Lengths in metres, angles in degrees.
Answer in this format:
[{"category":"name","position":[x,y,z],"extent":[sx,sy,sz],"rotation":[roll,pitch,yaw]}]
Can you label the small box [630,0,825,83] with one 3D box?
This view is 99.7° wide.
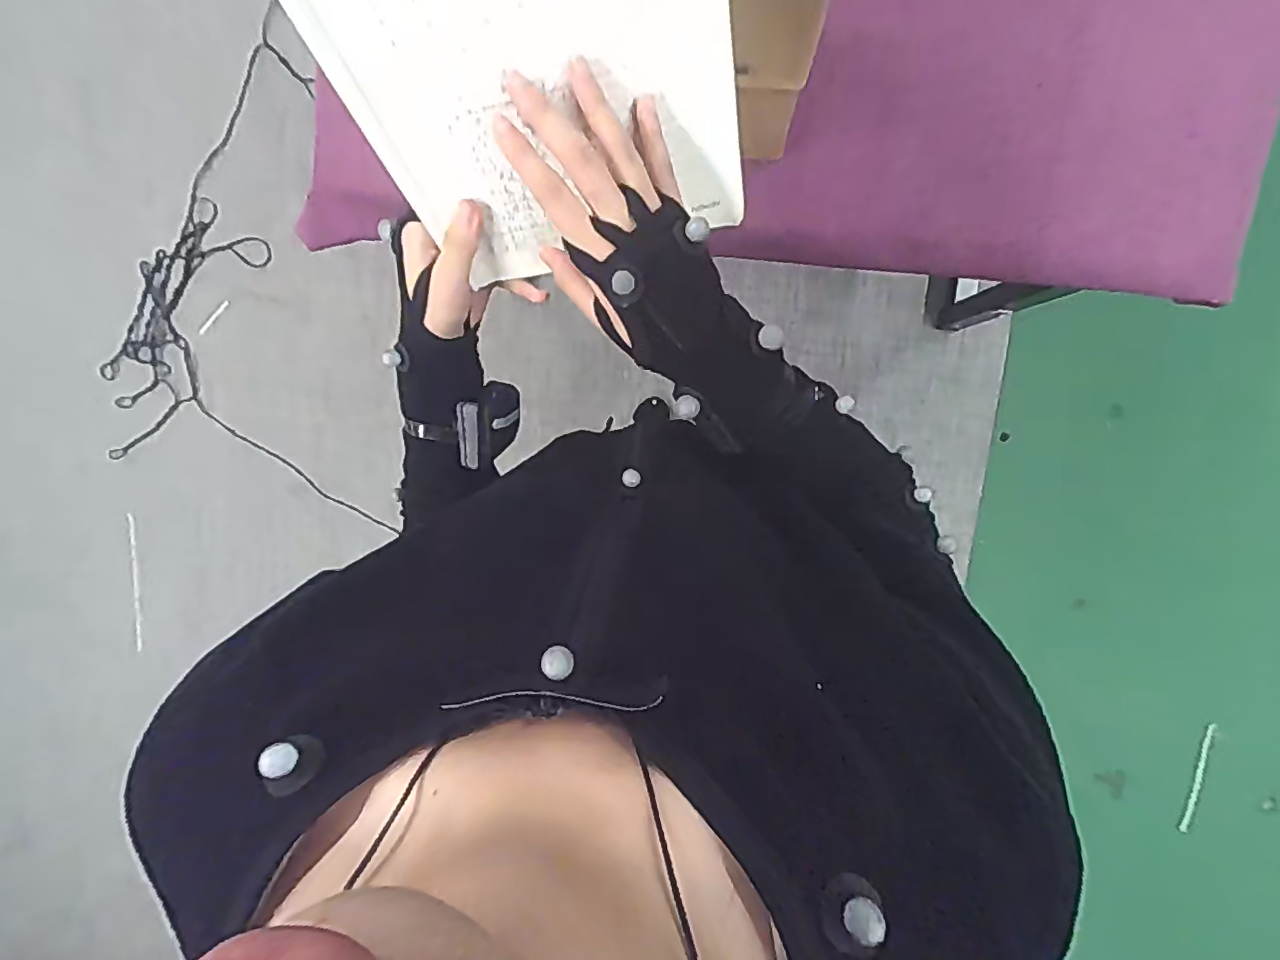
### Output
[{"category":"small box","position":[0.083,-0.477,0.457],"extent":[0.168,0.176,0.179],"rotation":[8,97,6]}]
